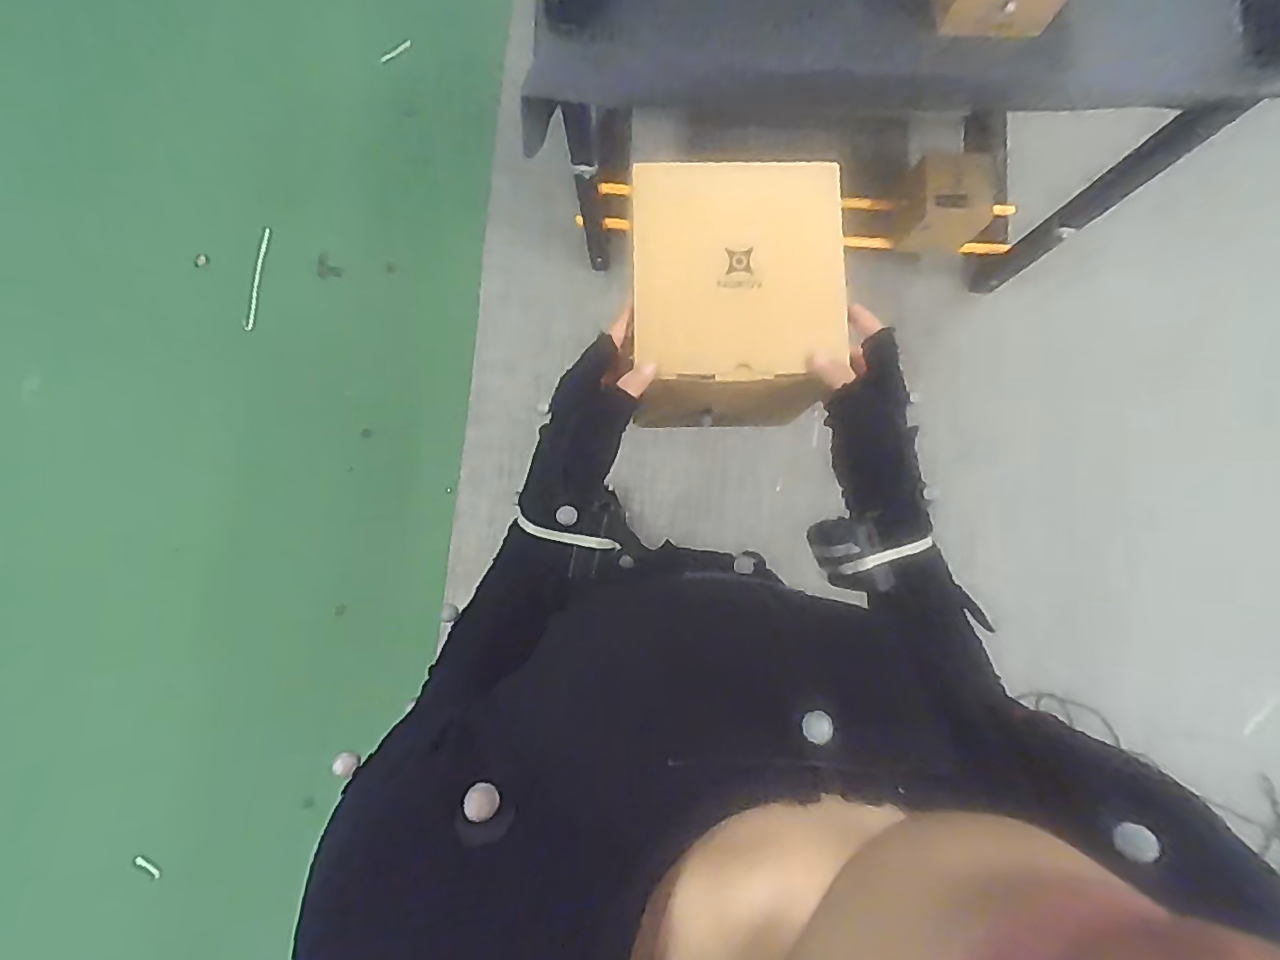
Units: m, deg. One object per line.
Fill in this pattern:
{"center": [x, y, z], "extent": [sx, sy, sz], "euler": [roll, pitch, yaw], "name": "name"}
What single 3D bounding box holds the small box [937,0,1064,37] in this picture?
{"center": [0.556, -0.805, 0.791], "extent": [0.168, 0.176, 0.179], "euler": [1, 82, 1], "name": "small box"}
